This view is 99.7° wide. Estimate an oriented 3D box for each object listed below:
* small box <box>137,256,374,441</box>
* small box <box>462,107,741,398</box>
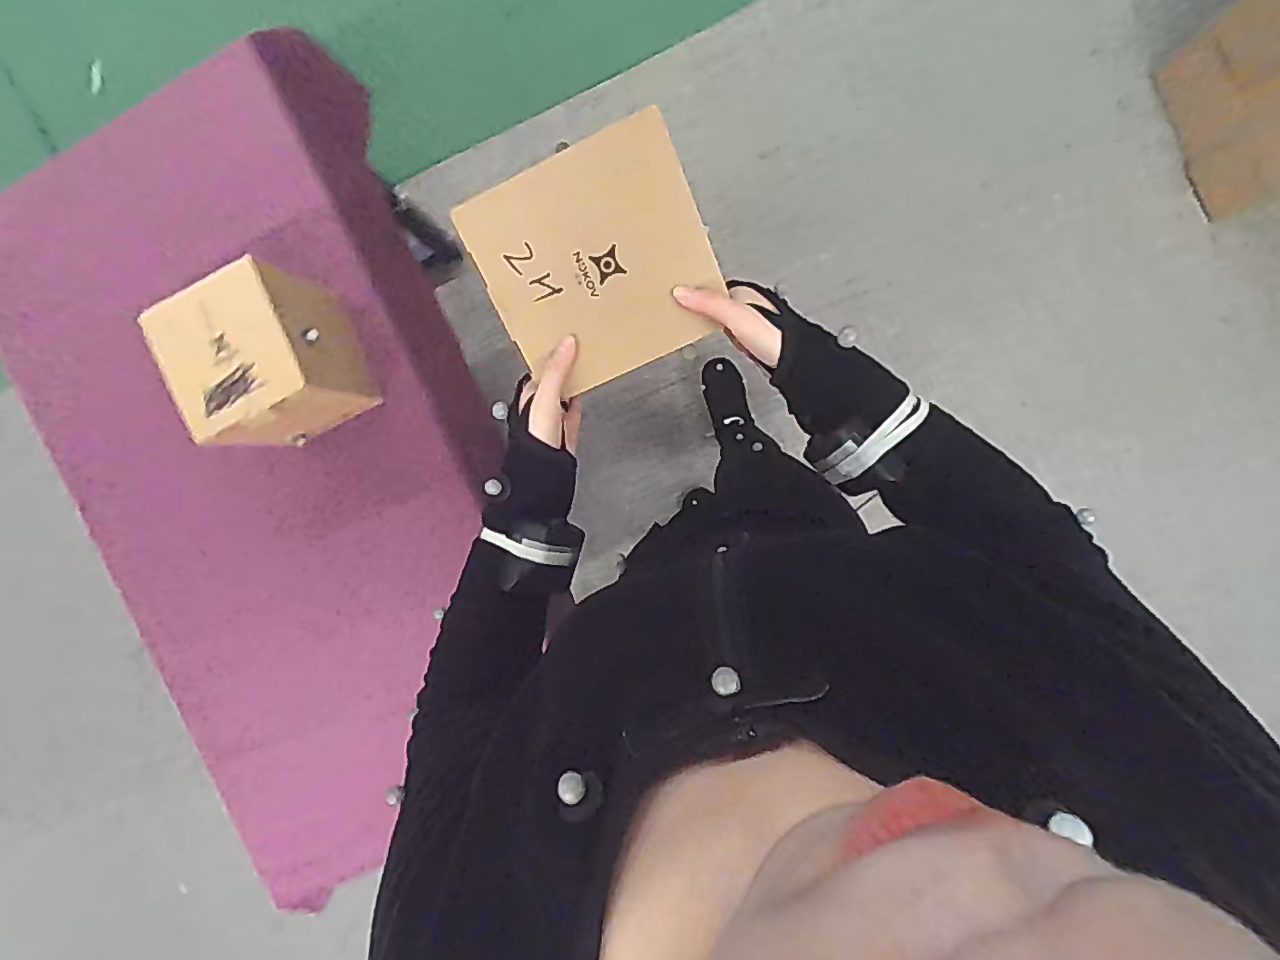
[{"bbox_3d":[-0.501,-0.163,0.733,0.168,0.176,0.179,-24,90,6],"label":"small box"},{"bbox_3d":[-0.026,-0.196,0.496,0.179,0.176,0.168,-21,108,9],"label":"small box"}]
